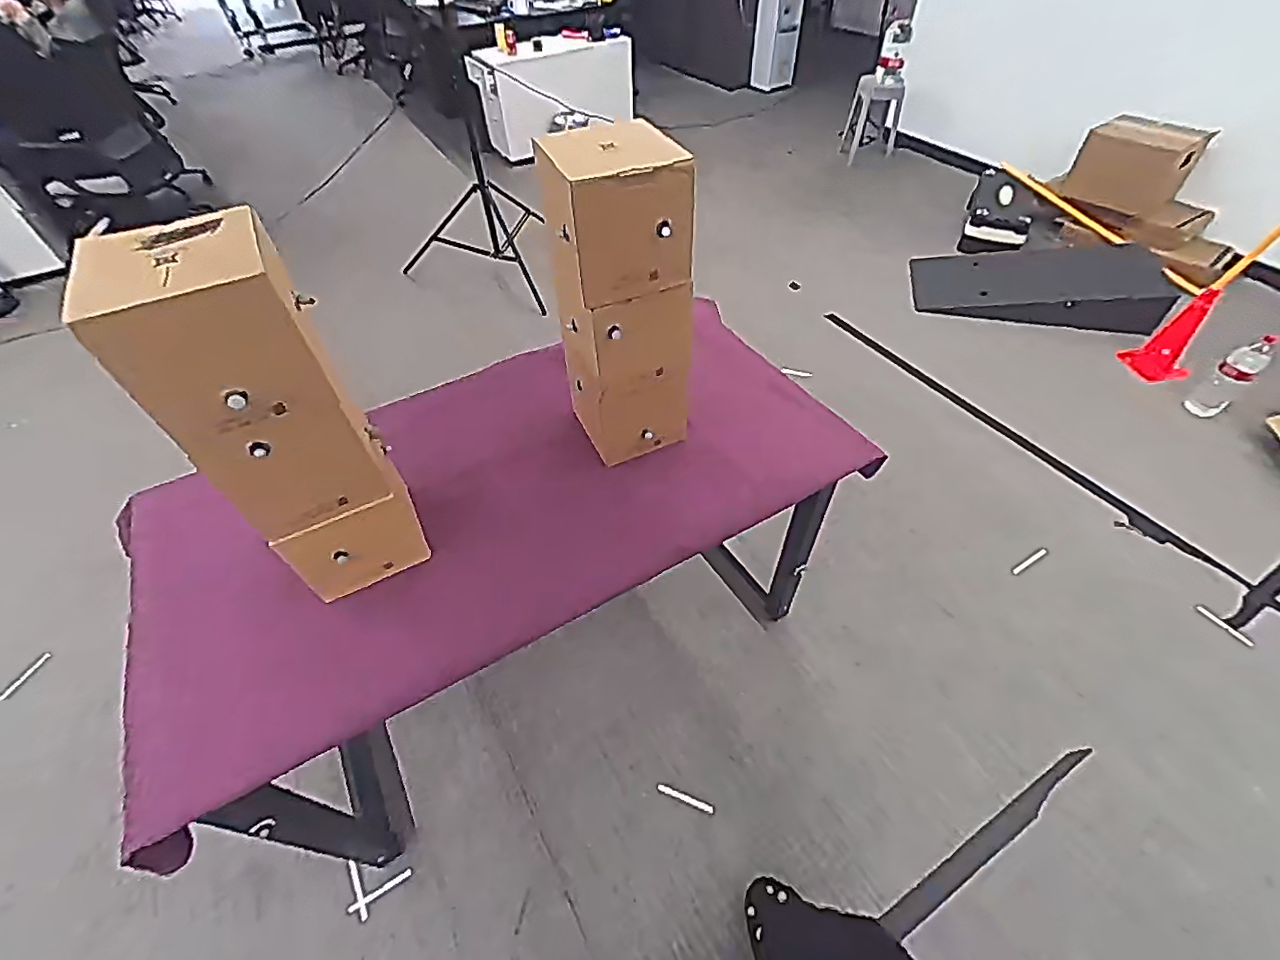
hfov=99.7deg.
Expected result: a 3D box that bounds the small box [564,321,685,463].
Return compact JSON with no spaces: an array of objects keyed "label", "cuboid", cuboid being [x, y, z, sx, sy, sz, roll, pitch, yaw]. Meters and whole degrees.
[{"label":"small box","cuboid":[-0.029,-0.163,1.007,0.168,0.176,0.179,-21,52,-14]}]

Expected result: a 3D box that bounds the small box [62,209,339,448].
[{"label":"small box","cuboid":[-0.462,-0.167,0.596,0.168,0.176,0.179,-24,53,-18]}]

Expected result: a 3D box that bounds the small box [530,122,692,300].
[{"label":"small box","cuboid":[-0.038,-0.369,0.754,0.168,0.176,0.179,-19,50,-15]}]

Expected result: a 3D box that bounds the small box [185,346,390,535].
[{"label":"small box","cuboid":[-0.462,-0.060,0.721,0.168,0.176,0.179,-25,52,-18]}]

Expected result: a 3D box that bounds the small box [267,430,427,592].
[{"label":"small box","cuboid":[-0.454,0.051,0.842,0.168,0.176,0.179,-24,53,-18]}]
